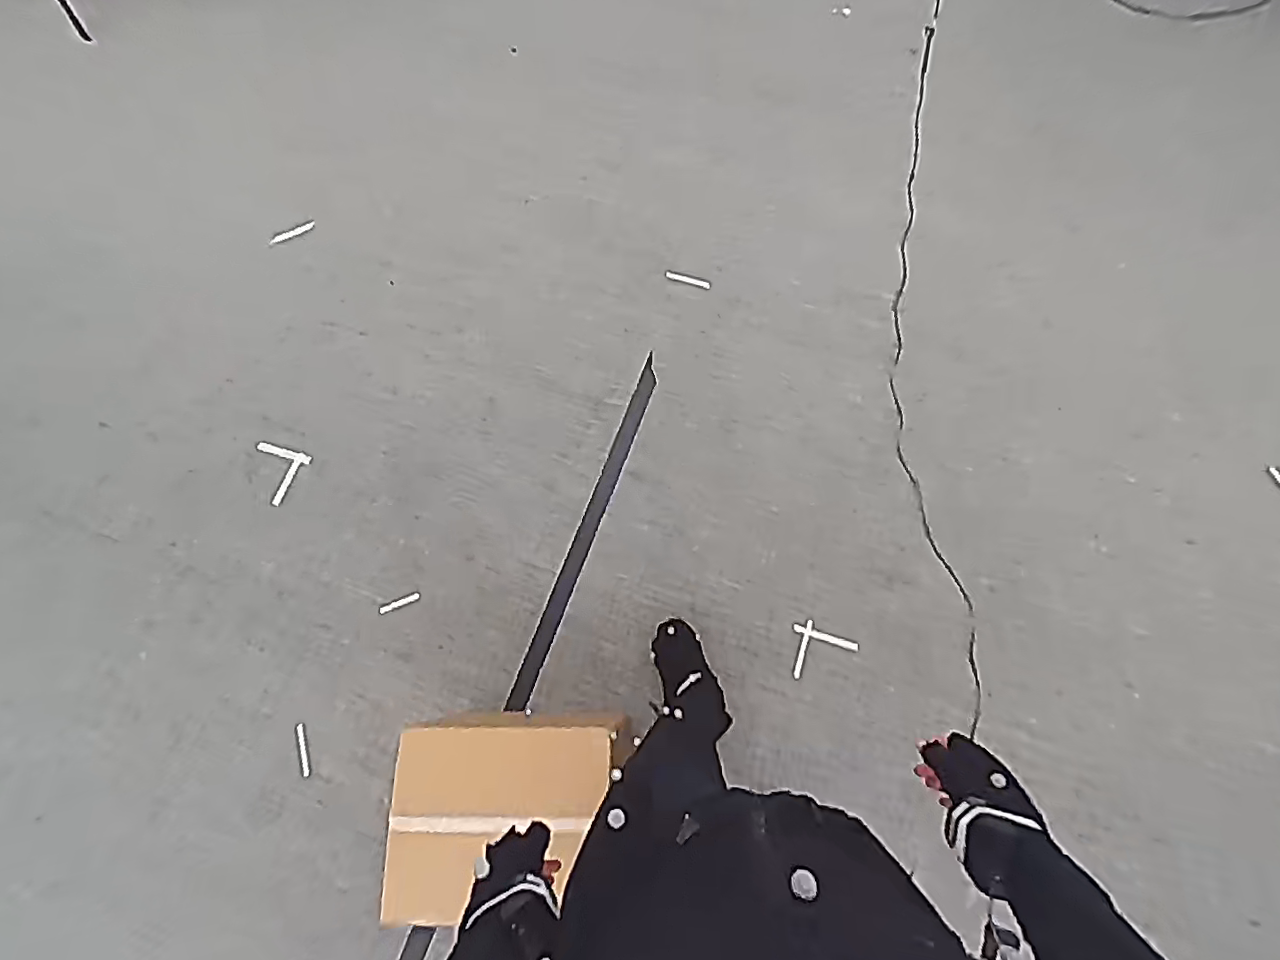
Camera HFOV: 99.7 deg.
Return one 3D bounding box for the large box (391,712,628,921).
[{"bbox_3d":[-0.235,0.659,1.119,0.408,0.320,0.320,-2,72,3],"label":"large box"}]
